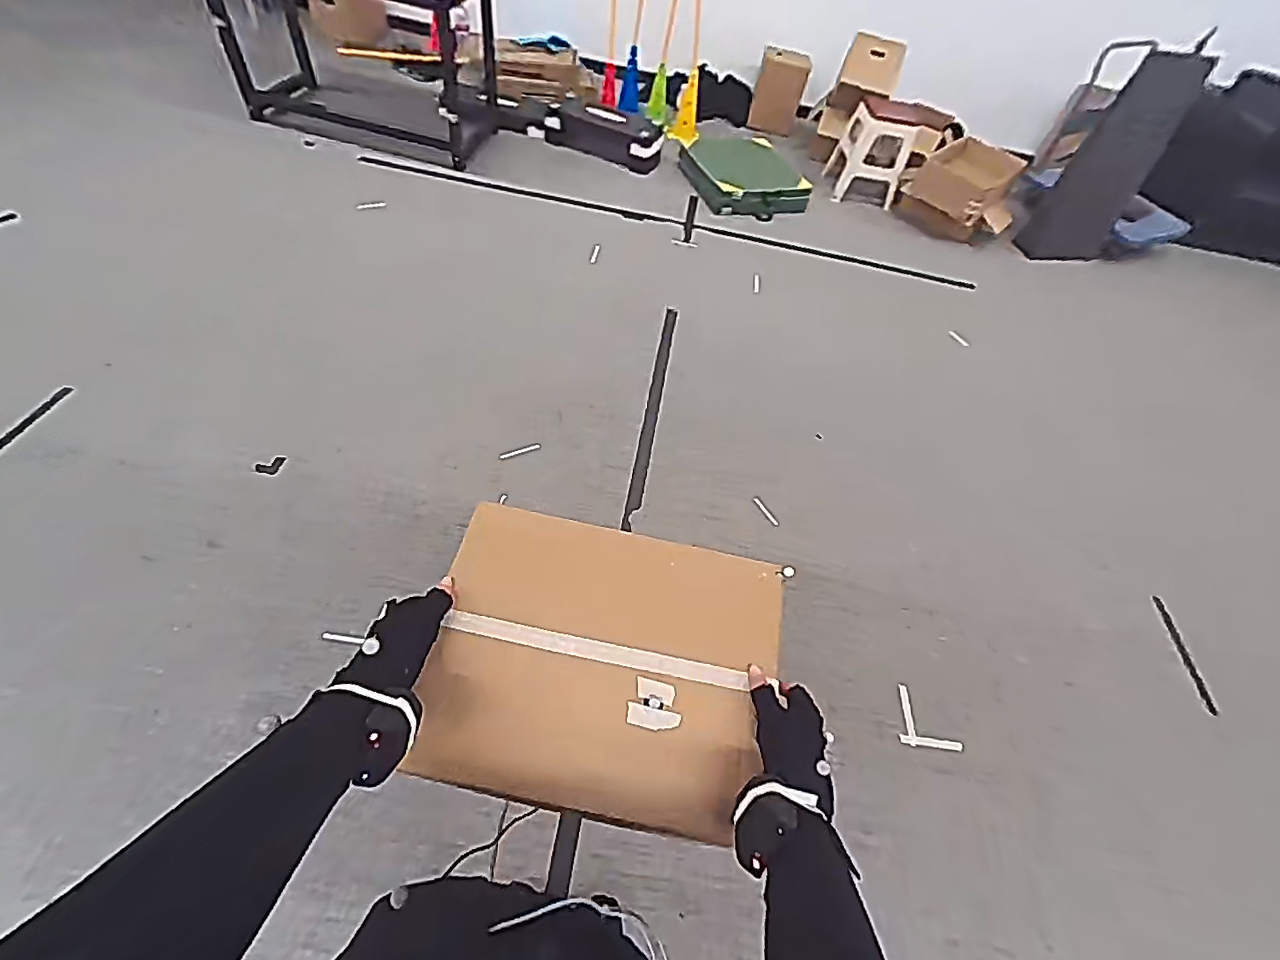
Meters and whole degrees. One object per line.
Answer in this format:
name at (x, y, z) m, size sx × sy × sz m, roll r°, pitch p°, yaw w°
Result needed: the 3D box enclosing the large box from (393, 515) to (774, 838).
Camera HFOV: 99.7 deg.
large box at (-0.057, 0.287, 0.762) m, size 0.408 × 0.320 × 0.320 m, roll 12°, pitch 58°, yaw 0°
